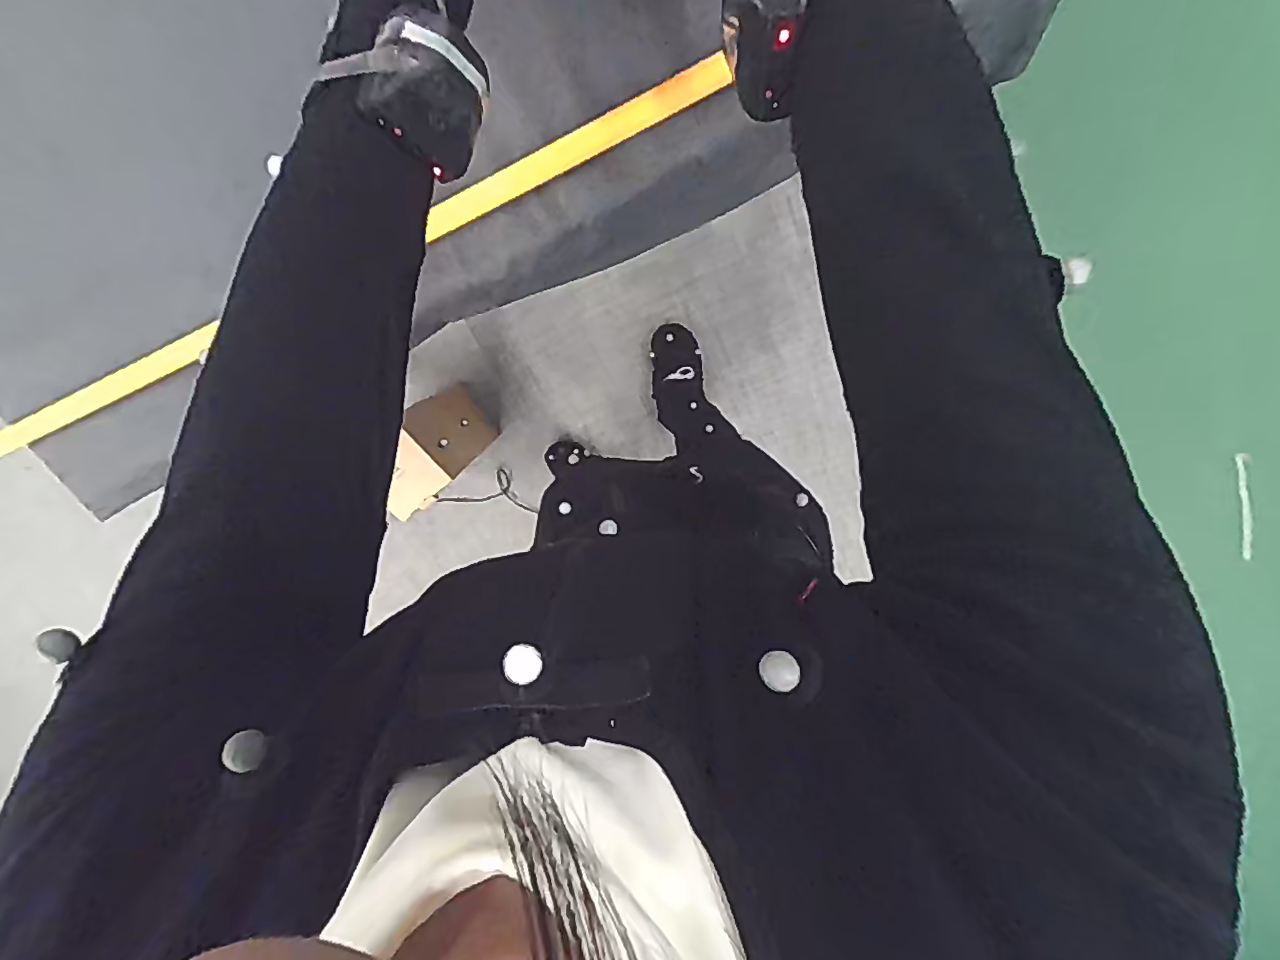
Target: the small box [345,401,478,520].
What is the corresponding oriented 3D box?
[{"bbox_3d":[-0.495,-0.050,1.199,0.168,0.176,0.179,-38,105,20],"label":"small box"}]
